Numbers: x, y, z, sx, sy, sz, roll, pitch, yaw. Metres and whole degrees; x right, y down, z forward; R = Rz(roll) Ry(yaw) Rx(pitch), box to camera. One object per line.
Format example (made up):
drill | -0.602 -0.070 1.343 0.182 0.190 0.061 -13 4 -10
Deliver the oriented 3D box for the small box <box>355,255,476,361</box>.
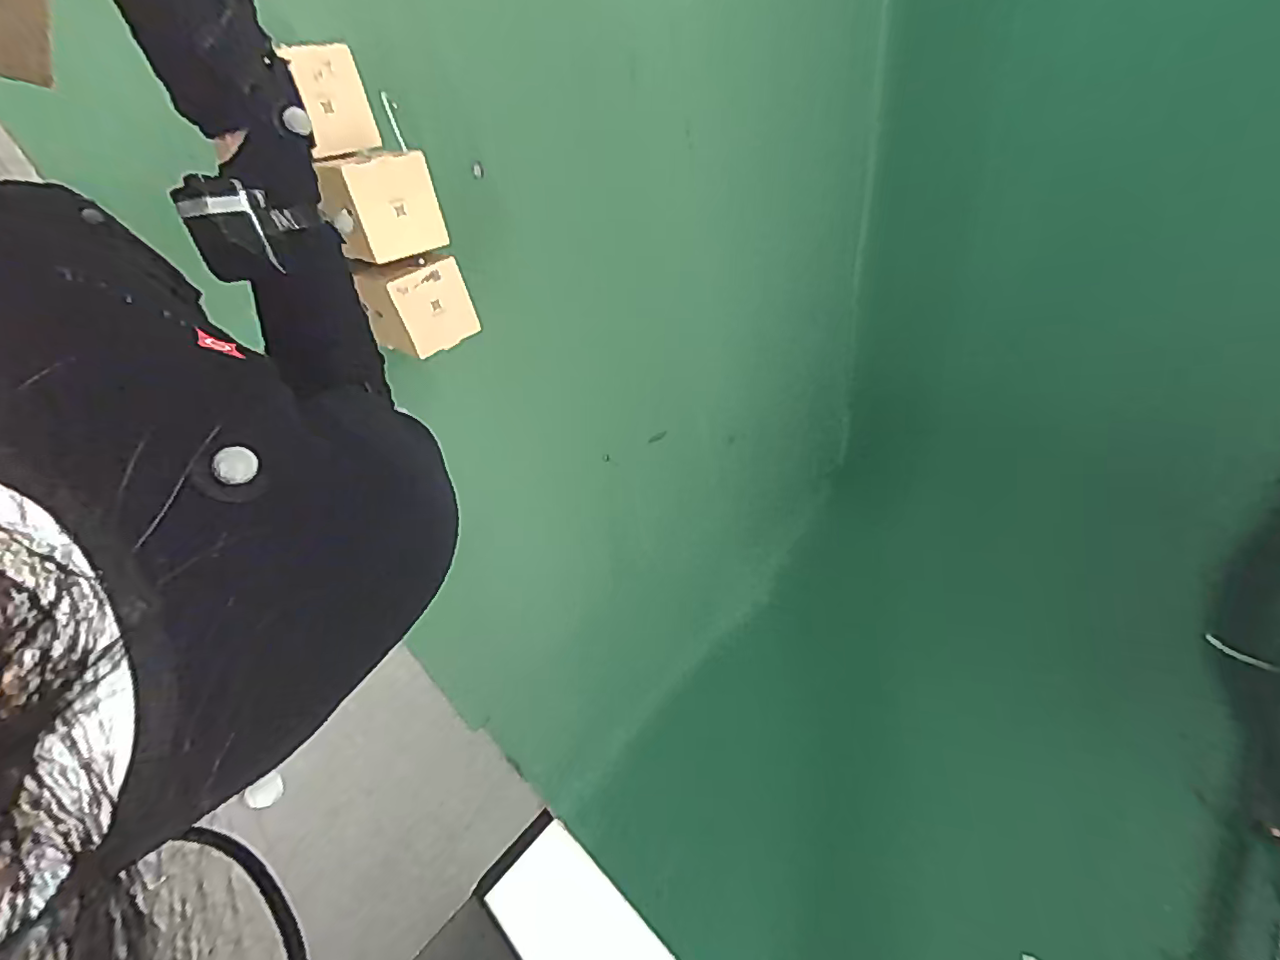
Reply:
small box | -0.513 -0.403 1.239 0.168 0.176 0.179 -38 136 -29

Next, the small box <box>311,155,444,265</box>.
small box | -0.541 -0.563 1.120 0.168 0.176 0.179 -33 132 -32
